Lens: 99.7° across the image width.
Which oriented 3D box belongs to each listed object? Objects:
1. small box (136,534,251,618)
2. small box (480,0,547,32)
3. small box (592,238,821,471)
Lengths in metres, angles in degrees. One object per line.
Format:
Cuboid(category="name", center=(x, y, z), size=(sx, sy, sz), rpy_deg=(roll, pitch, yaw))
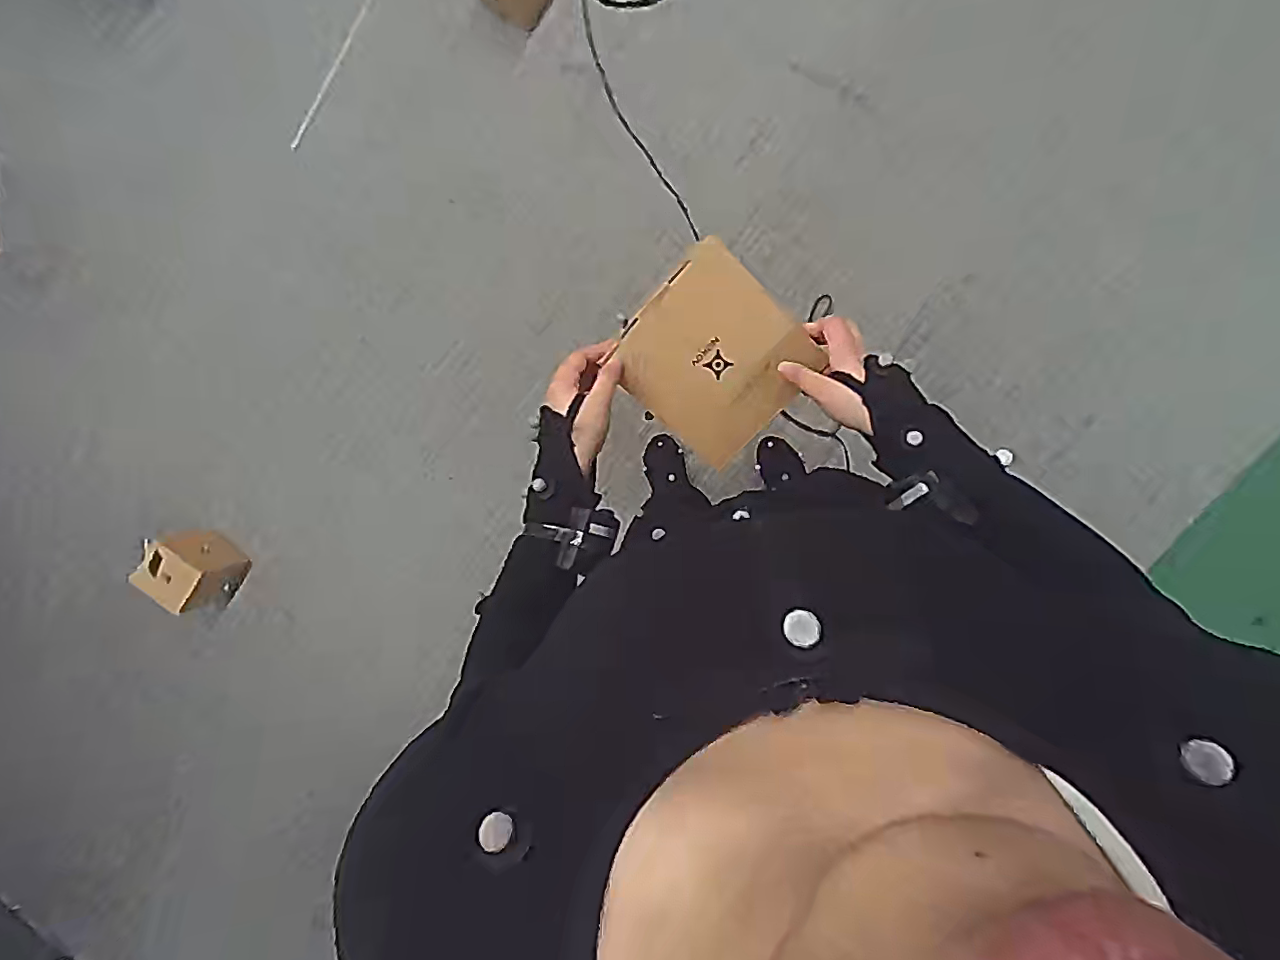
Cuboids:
Cuboid(category="small box", center=(-1.342, 0.280, 1.635), size=(0.179, 0.176, 0.168), rpy_deg=(38, 99, 2))
Cuboid(category="small box", center=(-0.324, -1.265, 1.324), size=(0.168, 0.176, 0.179), rpy_deg=(34, 100, 3))
Cuboid(category="small box", center=(0.066, -0.145, 0.620), size=(0.179, 0.176, 0.168), rpy_deg=(40, 106, -15))
